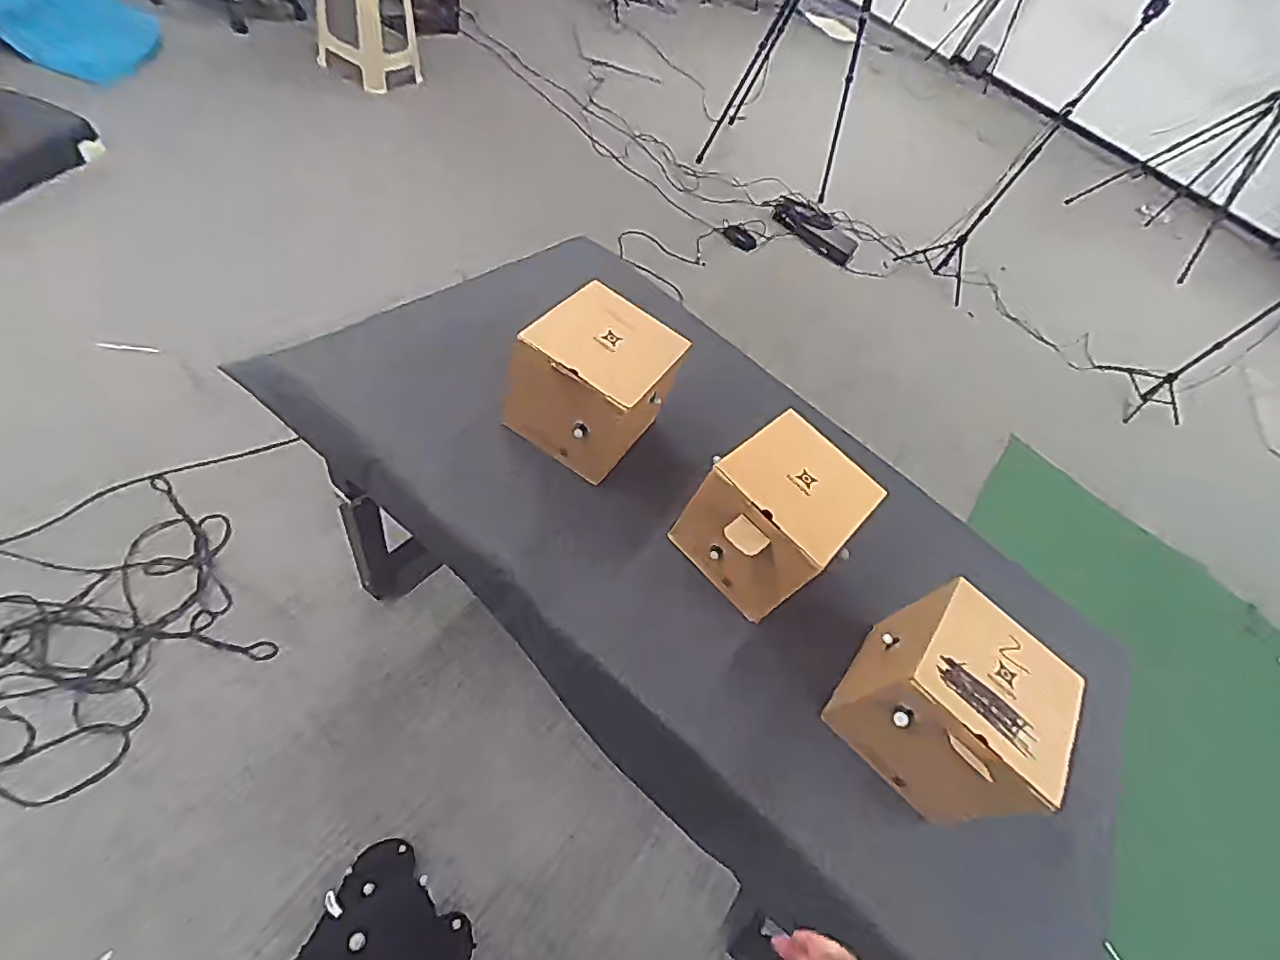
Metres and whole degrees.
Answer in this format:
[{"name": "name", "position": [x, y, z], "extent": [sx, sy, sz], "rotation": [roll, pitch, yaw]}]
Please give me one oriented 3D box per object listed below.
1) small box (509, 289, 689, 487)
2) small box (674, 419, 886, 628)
[{"name": "small box", "position": [-0.064, -0.122, 0.745], "extent": [0.168, 0.176, 0.179], "rotation": [35, 49, 5]}, {"name": "small box", "position": [0.171, 0.057, 0.701], "extent": [0.168, 0.176, 0.179], "rotation": [46, 53, 14]}]
